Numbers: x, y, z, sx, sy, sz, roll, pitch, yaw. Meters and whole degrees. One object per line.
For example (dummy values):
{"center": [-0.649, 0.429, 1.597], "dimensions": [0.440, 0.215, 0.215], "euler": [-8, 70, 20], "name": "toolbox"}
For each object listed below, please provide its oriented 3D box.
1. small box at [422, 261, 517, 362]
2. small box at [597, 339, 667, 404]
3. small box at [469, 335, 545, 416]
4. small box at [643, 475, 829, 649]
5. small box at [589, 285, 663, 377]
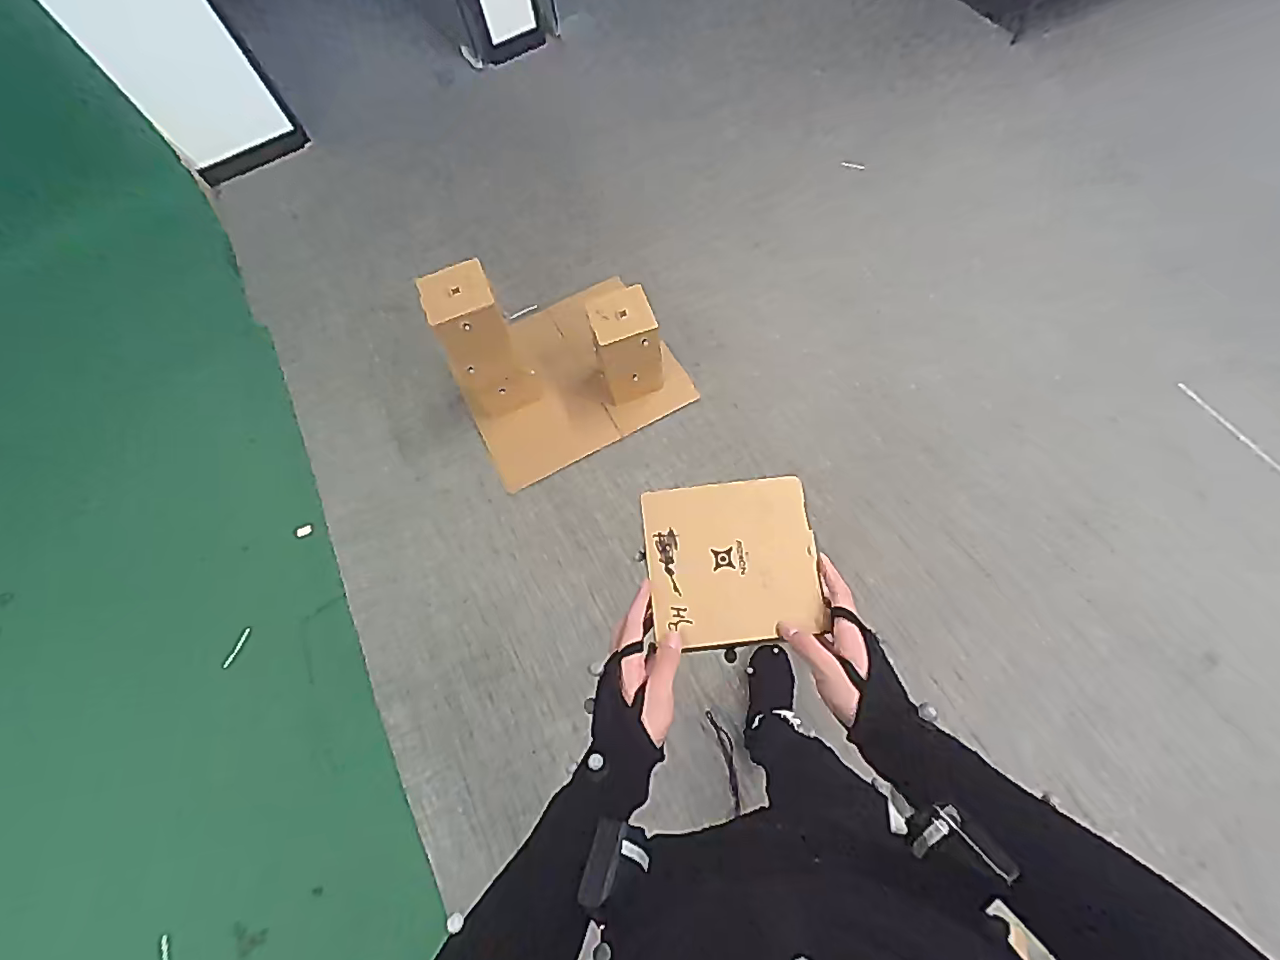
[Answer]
{"center": [-0.456, -0.448, 1.464], "dimensions": [0.179, 0.176, 0.168], "euler": [-22, 68, -3], "name": "small box"}
{"center": [-0.021, -0.377, 1.746], "dimensions": [0.179, 0.176, 0.168], "euler": [-23, 67, -3], "name": "small box"}
{"center": [-0.434, -0.336, 1.771], "dimensions": [0.179, 0.176, 0.168], "euler": [-24, 67, -4], "name": "small box"}
{"center": [0.097, 0.104, 0.635], "dimensions": [0.179, 0.176, 0.168], "euler": [-6, 70, 0], "name": "small box"}
{"center": [-0.035, -0.433, 1.590], "dimensions": [0.179, 0.176, 0.168], "euler": [-19, 67, -1], "name": "small box"}
